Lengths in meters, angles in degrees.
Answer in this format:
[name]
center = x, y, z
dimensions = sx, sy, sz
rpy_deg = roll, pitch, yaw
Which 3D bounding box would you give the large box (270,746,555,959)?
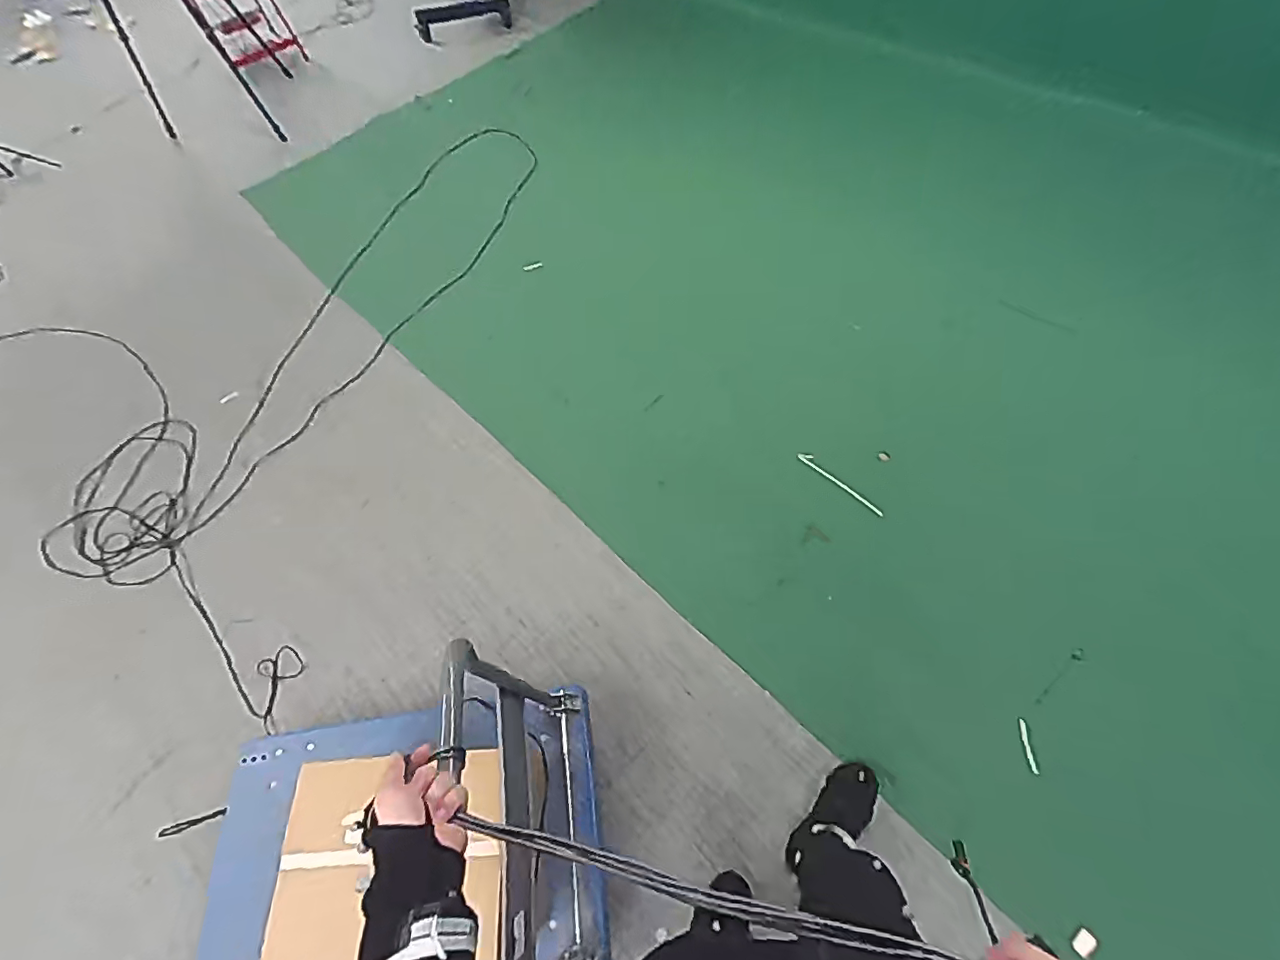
[large box]
center = -0.399, 0.717, 1.061
dimensions = 0.408, 0.320, 0.320
rpy_deg = -7, 60, 4
